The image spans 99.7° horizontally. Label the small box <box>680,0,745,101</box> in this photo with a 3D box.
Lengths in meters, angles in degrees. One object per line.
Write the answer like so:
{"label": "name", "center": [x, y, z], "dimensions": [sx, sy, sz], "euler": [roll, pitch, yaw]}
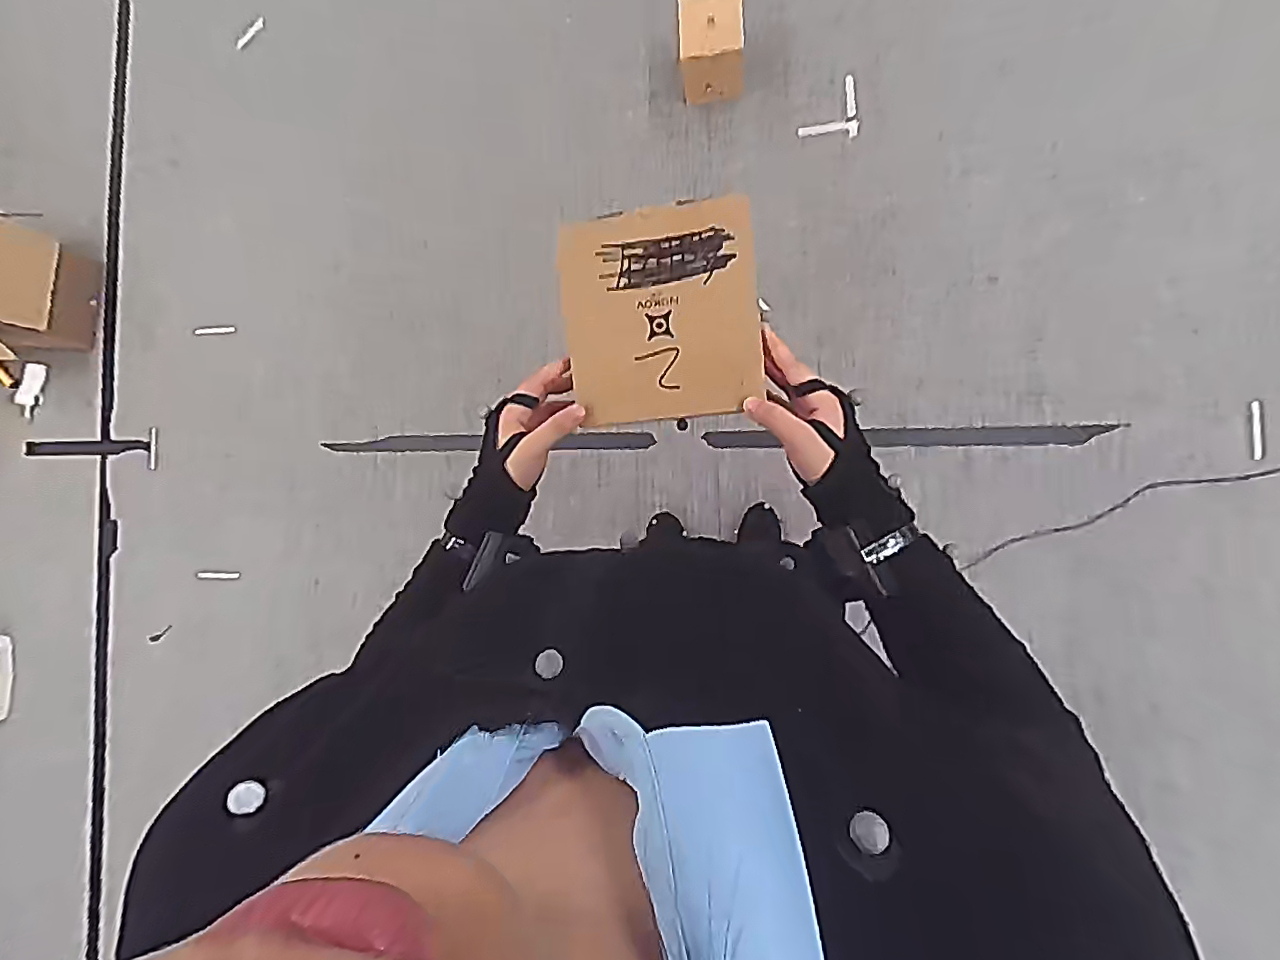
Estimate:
{"label": "small box", "center": [0.196, -1.180, 1.467], "dimensions": [0.168, 0.176, 0.179], "euler": [-3, 87, 9]}

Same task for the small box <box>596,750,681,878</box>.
{"label": "small box", "center": [0.003, 0.735, 1.207], "dimensions": [0.168, 0.176, 0.179], "euler": [2, 87, 8]}
